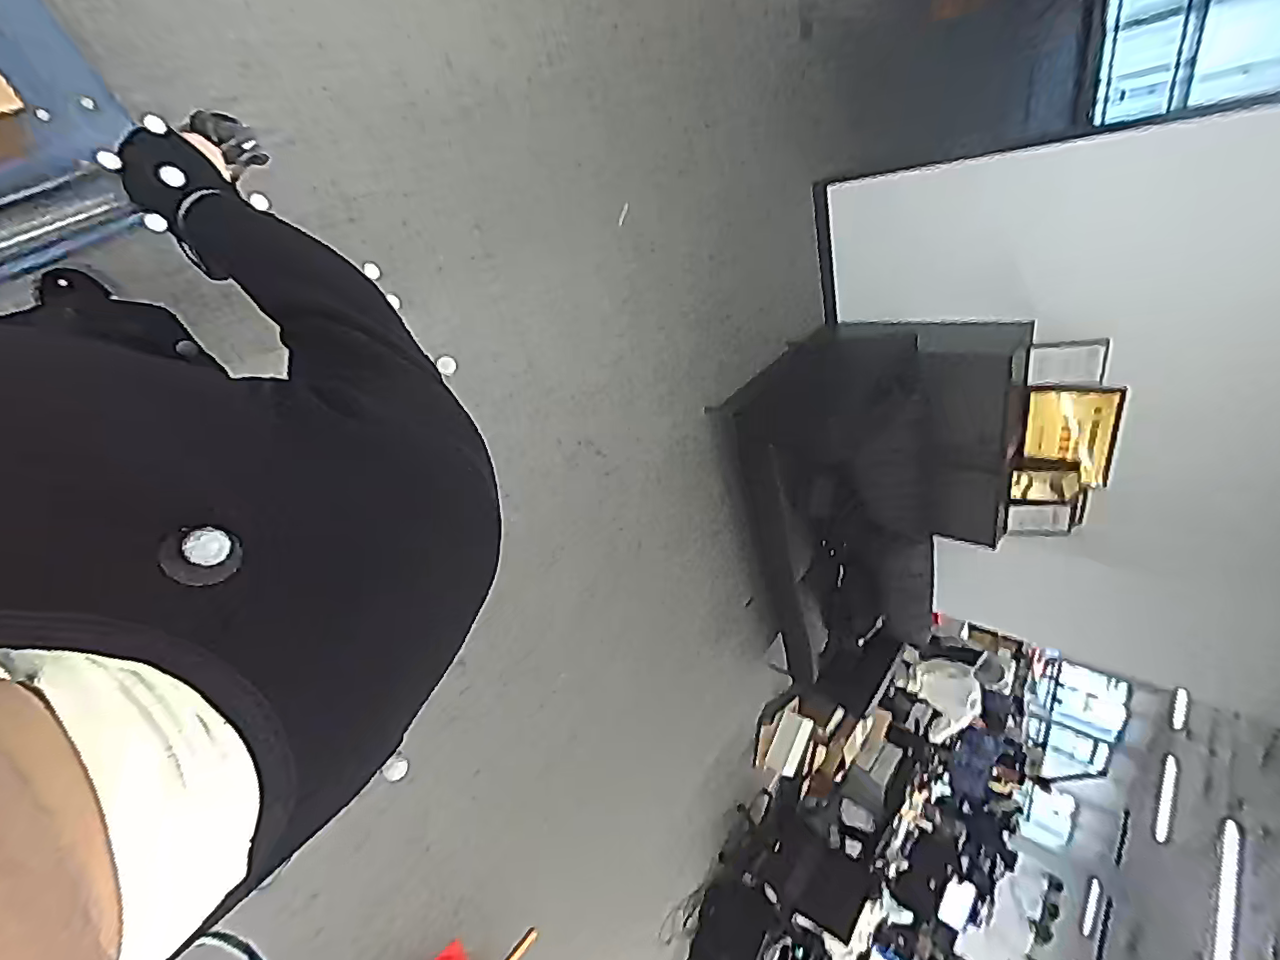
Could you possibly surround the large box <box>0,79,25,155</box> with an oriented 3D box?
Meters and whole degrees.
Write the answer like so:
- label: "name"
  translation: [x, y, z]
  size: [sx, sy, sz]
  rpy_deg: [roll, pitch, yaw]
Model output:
- label: "large box"
  translation: [-1.095, -0.590, 0.637]
  size: [0.320, 0.320, 0.408]
  rpy_deg: [-45, 130, -30]
